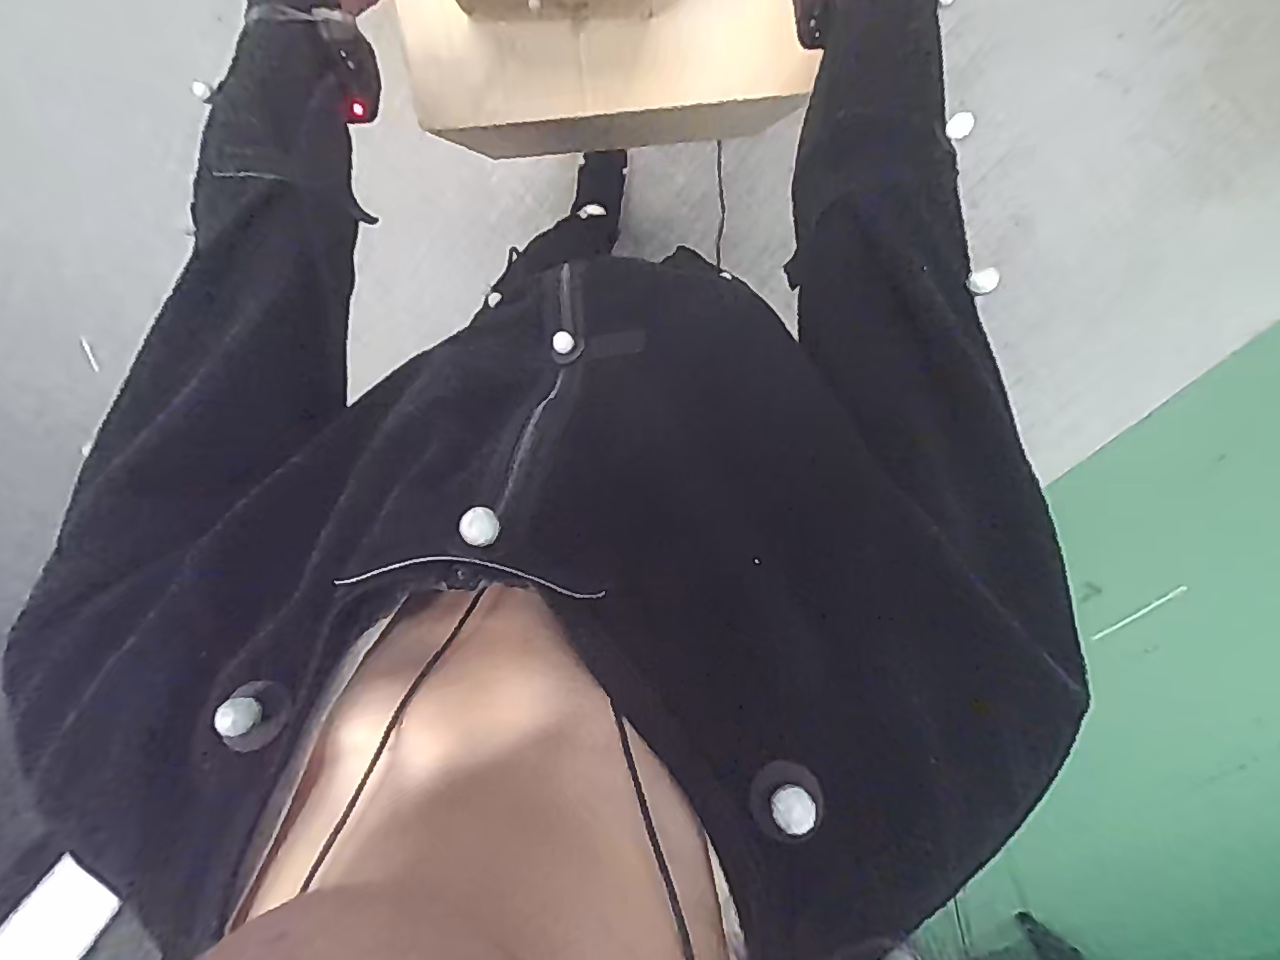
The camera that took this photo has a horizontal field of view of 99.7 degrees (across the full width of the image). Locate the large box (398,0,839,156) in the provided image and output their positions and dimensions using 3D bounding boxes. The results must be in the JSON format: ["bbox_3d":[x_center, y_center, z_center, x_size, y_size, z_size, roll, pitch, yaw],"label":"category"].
[{"bbox_3d":[-0.031,-0.562,0.585,0.408,0.320,0.320,-5,117,0],"label":"large box"}]

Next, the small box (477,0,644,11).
[{"bbox_3d":[-0.070,-0.457,0.363,0.168,0.176,0.179,-1,116,-1],"label":"small box"}]
